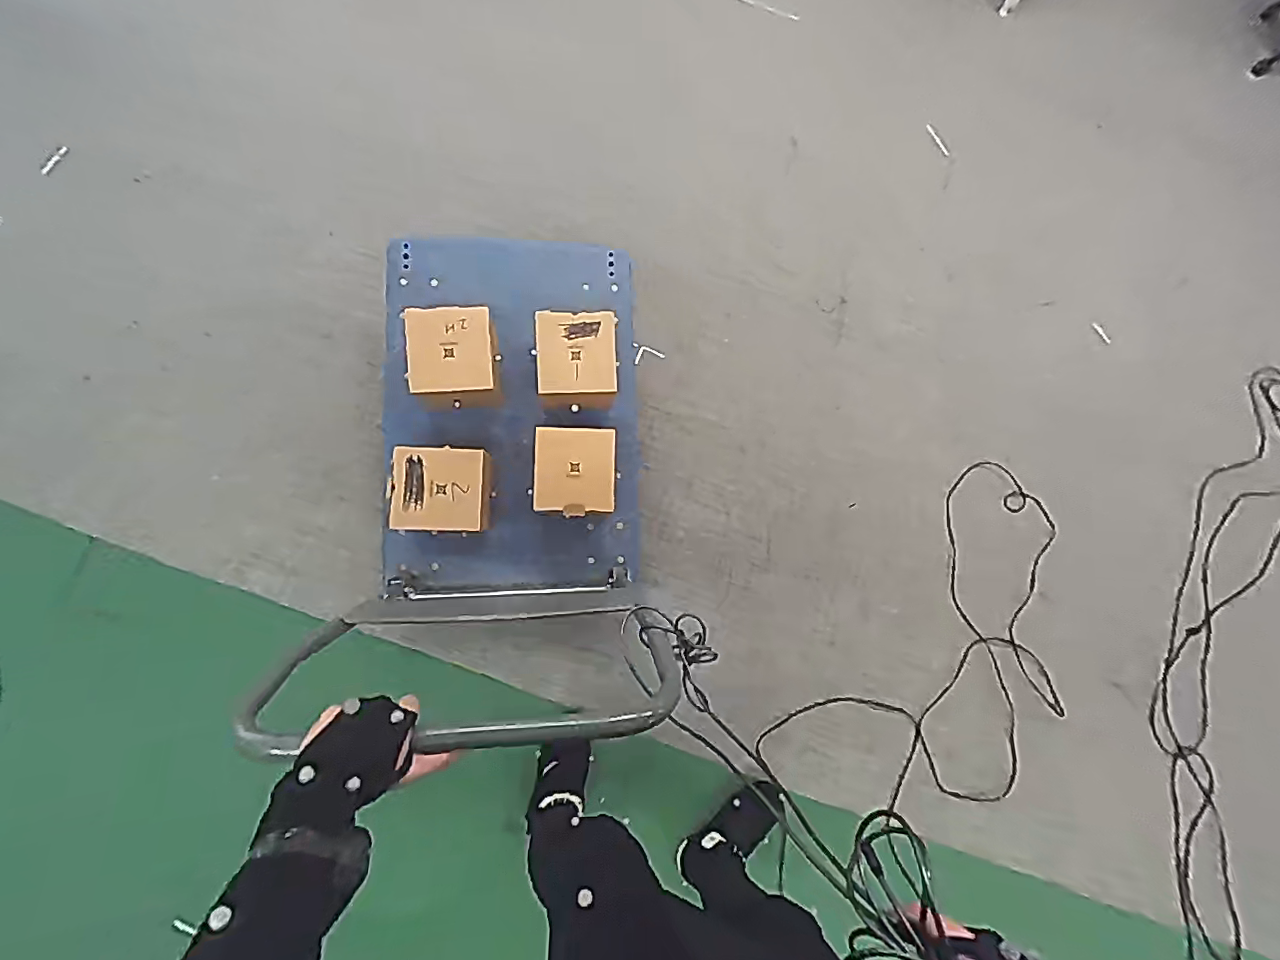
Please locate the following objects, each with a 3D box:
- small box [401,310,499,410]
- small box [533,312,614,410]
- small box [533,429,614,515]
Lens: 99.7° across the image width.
[{"bbox_3d":[-0.402,-0.251,1.169,0.168,0.176,0.179,-5,87,-9],"label":"small box"},{"bbox_3d":[-0.148,-0.258,1.202,0.168,0.176,0.179,-3,88,-7],"label":"small box"},{"bbox_3d":[-0.147,-0.013,1.189,0.168,0.176,0.179,0,88,-7],"label":"small box"}]
